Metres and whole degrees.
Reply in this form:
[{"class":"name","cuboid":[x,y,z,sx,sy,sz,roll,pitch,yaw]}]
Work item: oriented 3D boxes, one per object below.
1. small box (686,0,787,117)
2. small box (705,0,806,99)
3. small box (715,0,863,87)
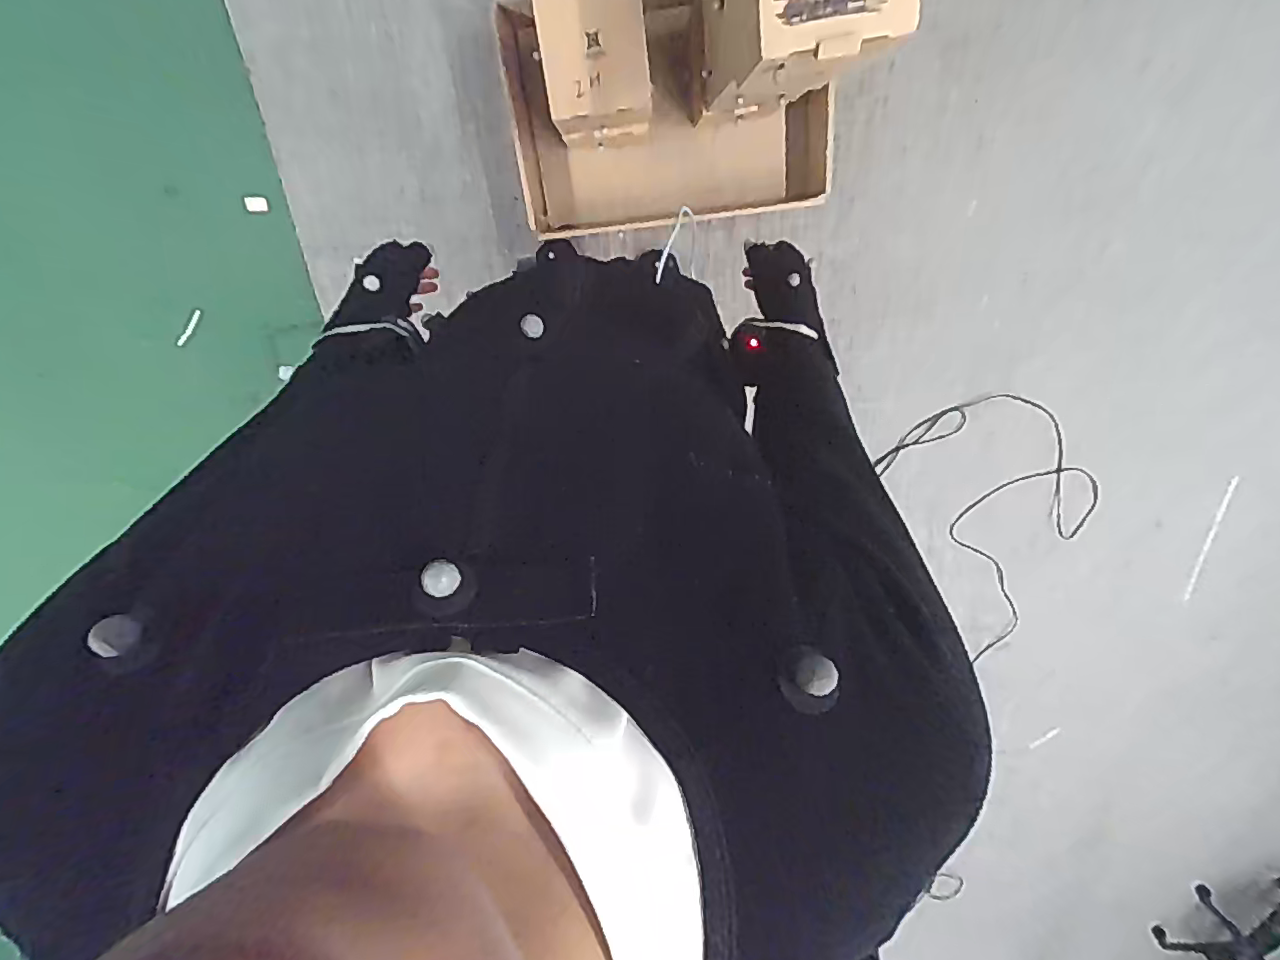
[{"class":"small box","cuboid":[0.182,-0.811,1.030,0.168,0.176,0.179,-9,116,5]},{"class":"small box","cuboid":[0.196,-0.732,0.868,0.168,0.176,0.179,-5,117,3]},{"class":"small box","cuboid":[0.196,-0.659,0.740,0.168,0.176,0.179,-5,117,2]}]
